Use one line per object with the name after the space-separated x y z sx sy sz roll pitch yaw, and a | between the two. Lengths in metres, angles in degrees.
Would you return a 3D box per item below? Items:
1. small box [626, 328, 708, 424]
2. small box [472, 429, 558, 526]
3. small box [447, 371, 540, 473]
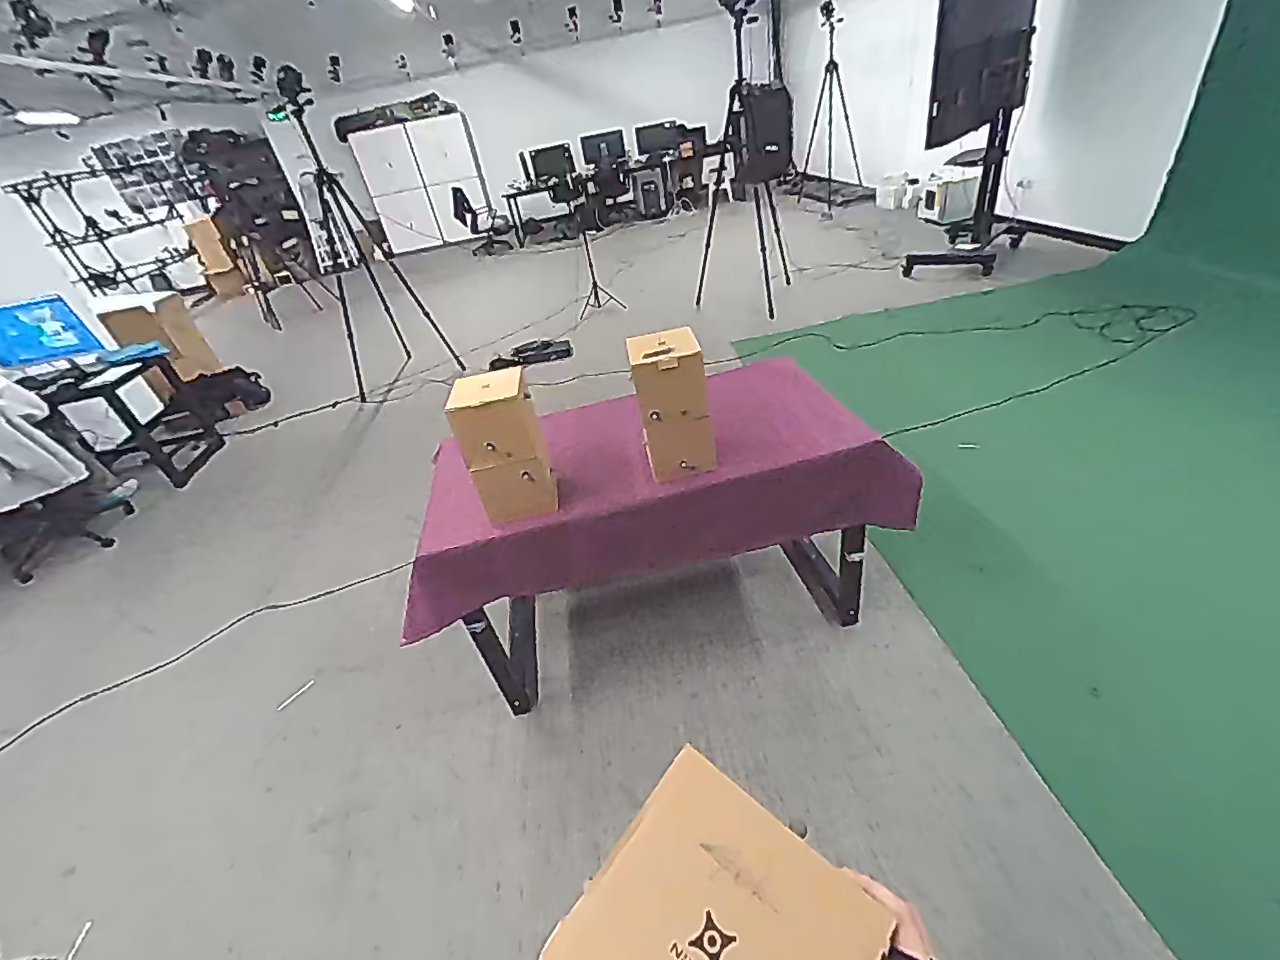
0.065 -0.251 1.329 0.168 0.176 0.179 -12 34 2 | small box
-0.312 -0.005 1.393 0.179 0.176 0.168 -13 33 -1 | small box
-0.345 -0.141 1.309 0.168 0.176 0.179 -13 35 0 | small box
